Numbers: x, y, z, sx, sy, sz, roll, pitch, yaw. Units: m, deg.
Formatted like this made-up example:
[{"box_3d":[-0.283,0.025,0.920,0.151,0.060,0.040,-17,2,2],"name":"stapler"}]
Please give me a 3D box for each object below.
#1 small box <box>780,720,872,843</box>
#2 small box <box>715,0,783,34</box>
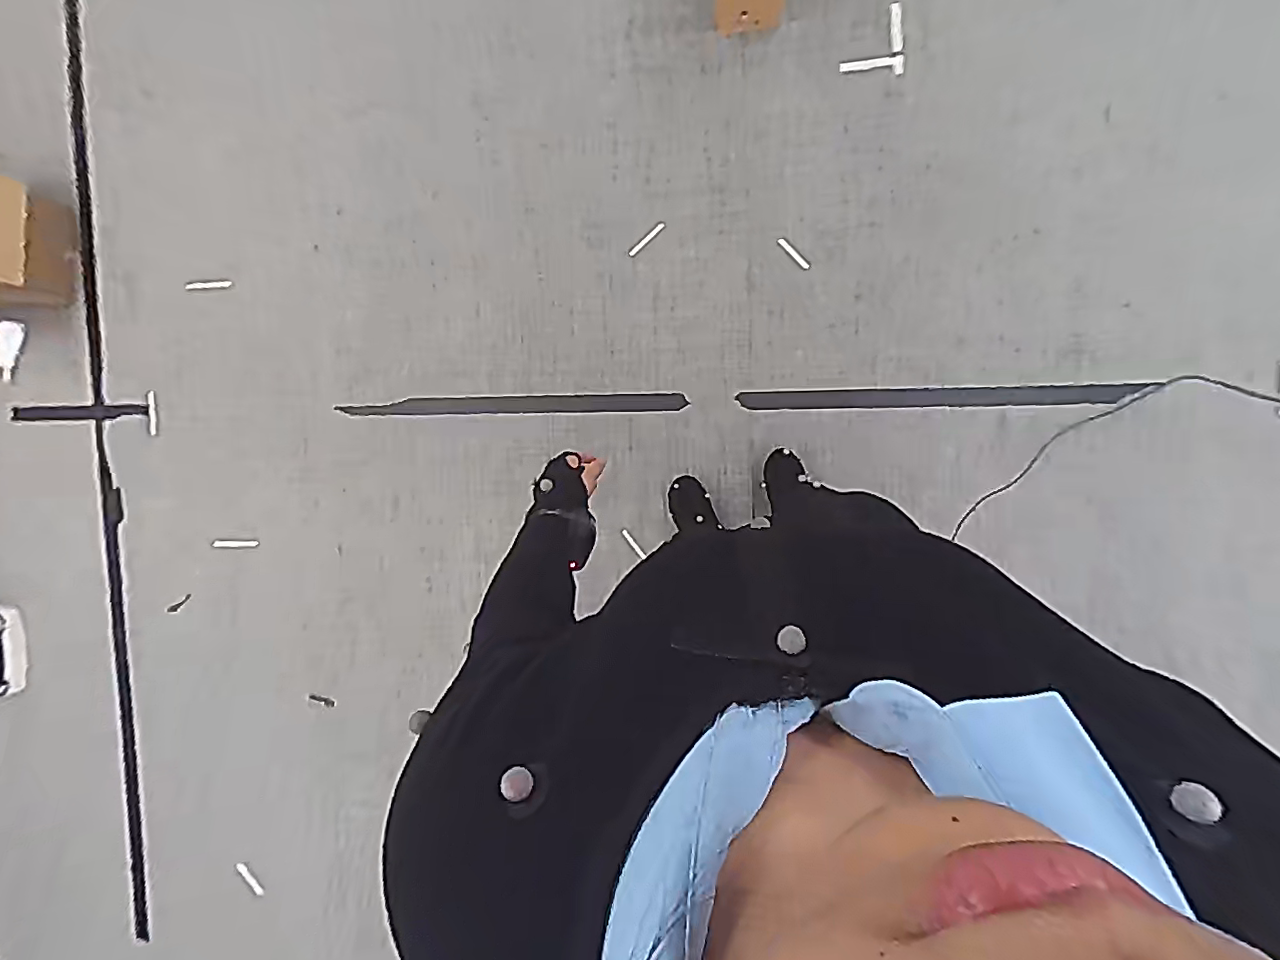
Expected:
[{"box_3d":[0.412,0.673,1.221,0.168,0.176,0.179,1,92,6],"name":"small box"},{"box_3d":[0.272,-1.271,1.347,0.168,0.176,0.179,-3,93,7],"name":"small box"}]
